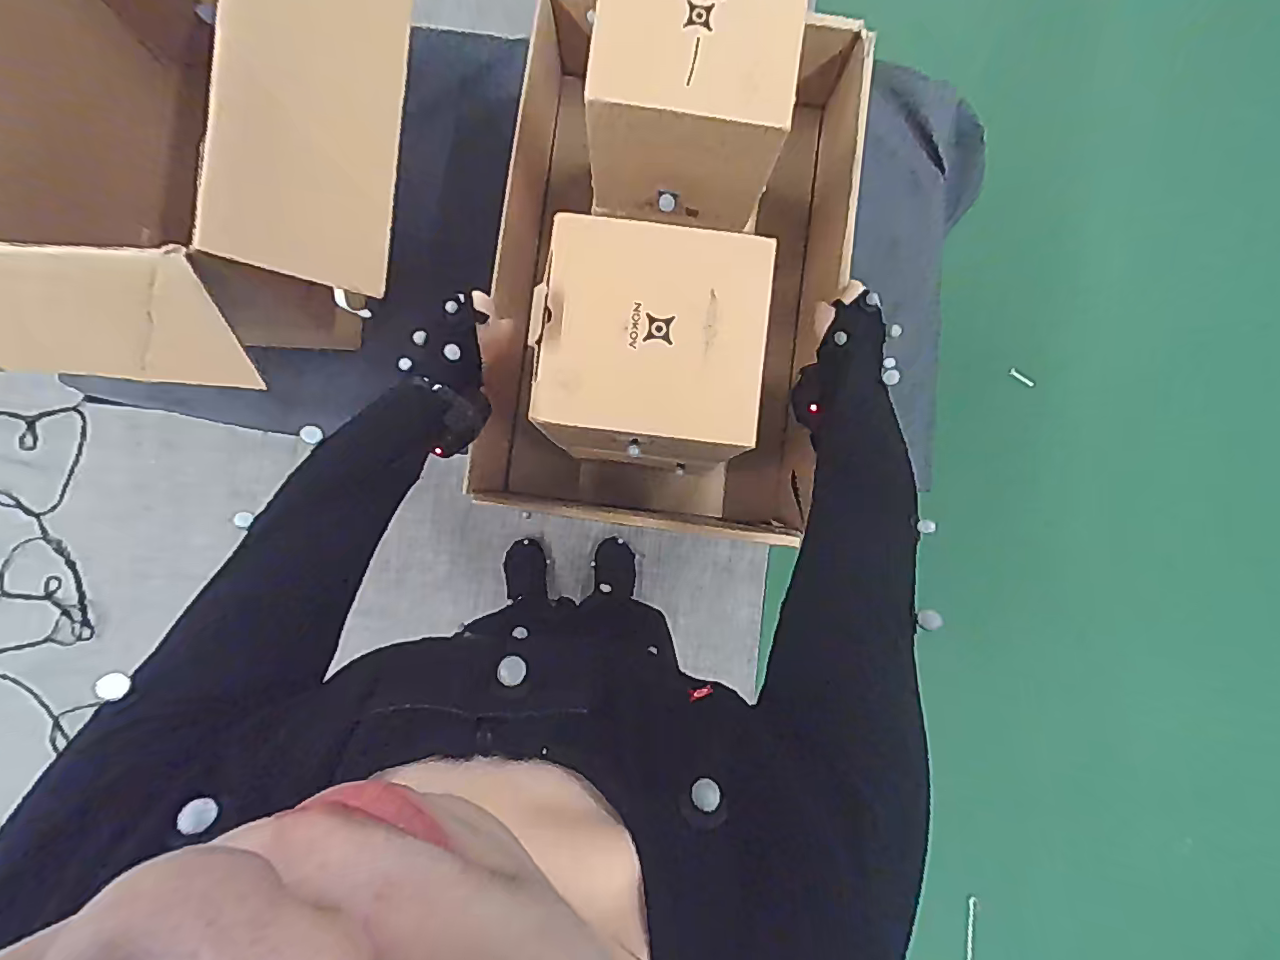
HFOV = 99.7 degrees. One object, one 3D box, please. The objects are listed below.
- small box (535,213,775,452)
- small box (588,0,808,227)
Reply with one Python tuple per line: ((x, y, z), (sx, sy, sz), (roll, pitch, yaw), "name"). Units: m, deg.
((0.010, -0.119, 0.505), (0.179, 0.176, 0.168), (6, 89, -2), "small box")
((0.048, -0.373, 0.510), (0.168, 0.176, 0.179), (9, 91, -2), "small box")
